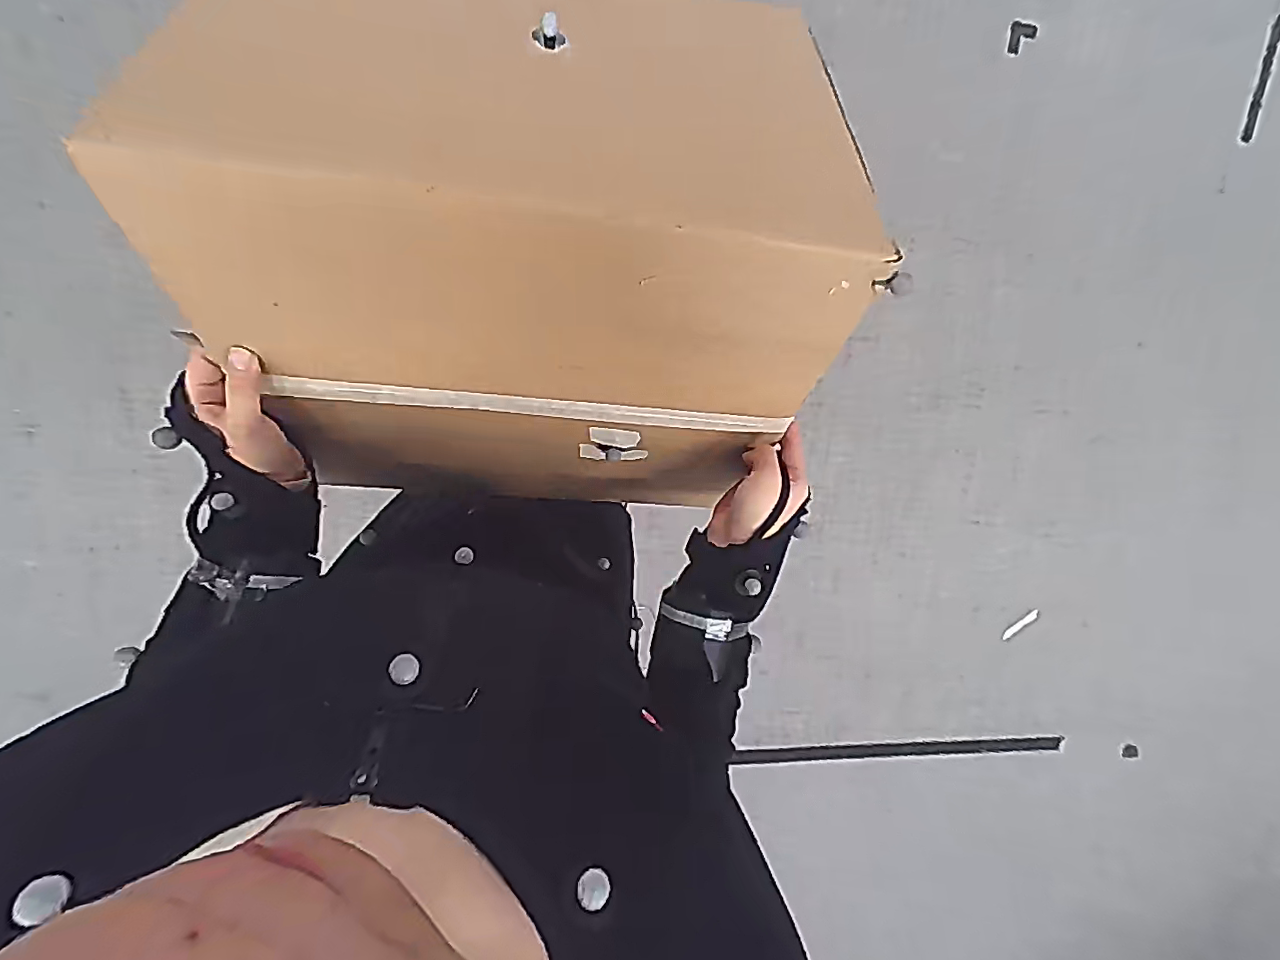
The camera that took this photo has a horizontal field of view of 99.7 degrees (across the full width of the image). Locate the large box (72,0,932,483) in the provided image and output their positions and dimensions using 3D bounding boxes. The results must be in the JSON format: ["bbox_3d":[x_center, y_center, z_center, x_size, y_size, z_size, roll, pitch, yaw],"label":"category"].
[{"bbox_3d":[-0.072,-0.209,0.451,0.408,0.320,0.320,3,62,-9],"label":"large box"}]
